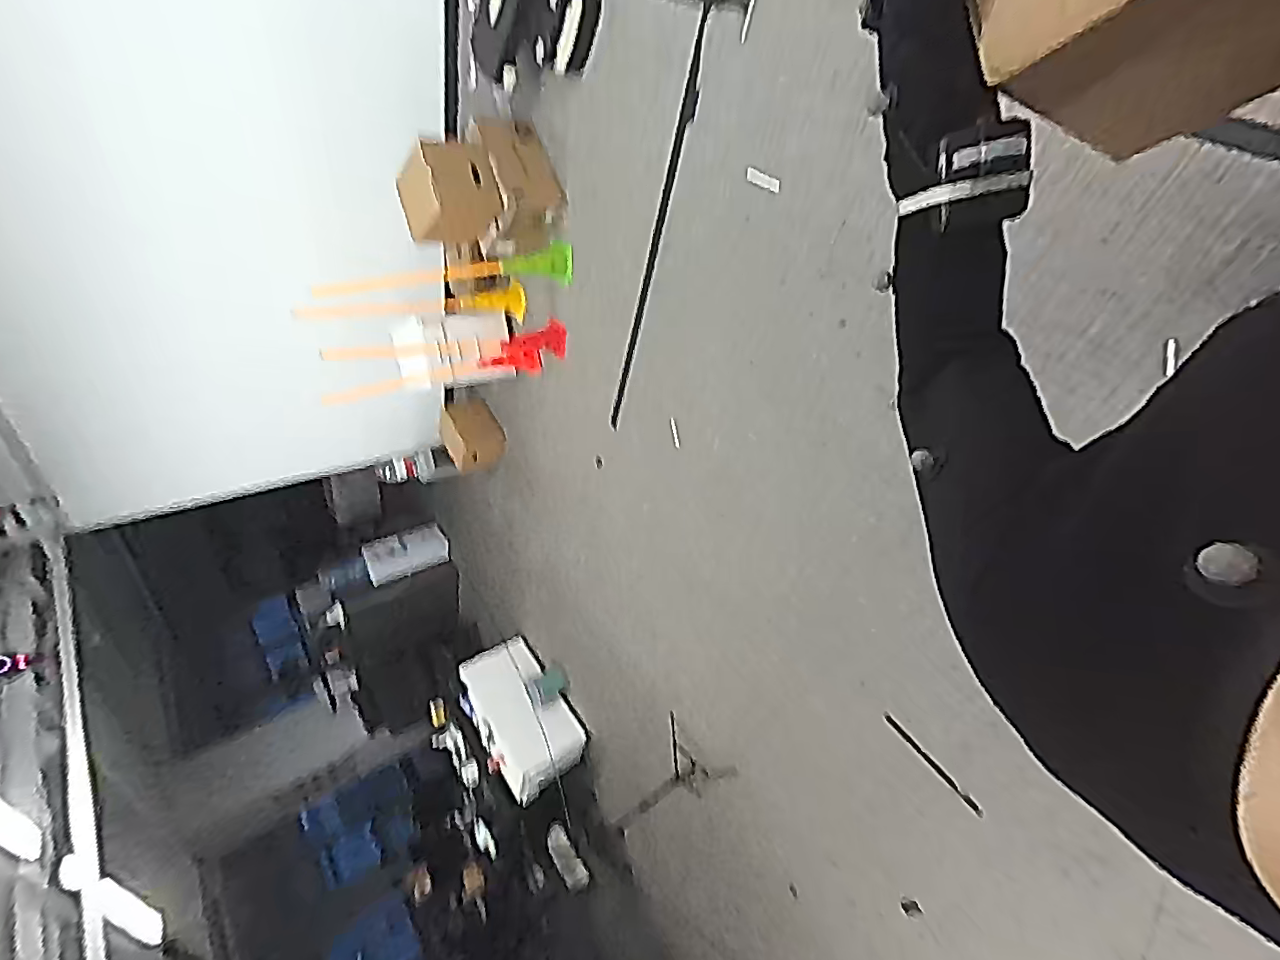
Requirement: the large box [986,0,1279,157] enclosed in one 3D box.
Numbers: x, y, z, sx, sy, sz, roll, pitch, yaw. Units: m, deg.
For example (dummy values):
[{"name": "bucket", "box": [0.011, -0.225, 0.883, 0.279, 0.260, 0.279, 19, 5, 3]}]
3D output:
[{"name": "large box", "box": [0.442, -0.464, 0.292, 0.408, 0.320, 0.320, -11, 91, 54]}]
